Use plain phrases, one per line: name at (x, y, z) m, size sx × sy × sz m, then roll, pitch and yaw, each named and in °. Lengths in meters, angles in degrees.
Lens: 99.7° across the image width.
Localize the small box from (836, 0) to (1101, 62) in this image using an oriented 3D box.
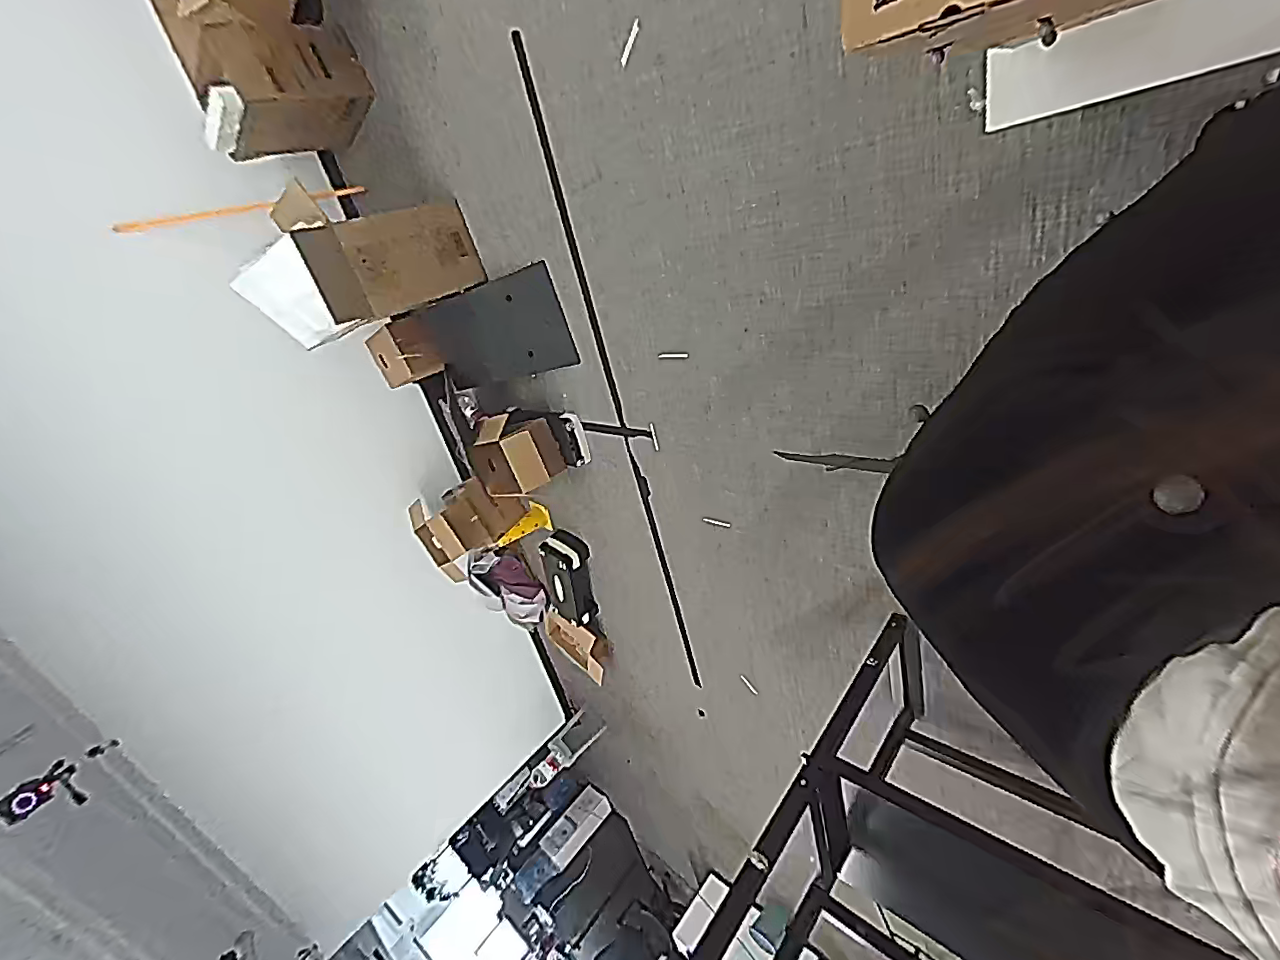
small box at (0.263, -0.444, 0.405) m, size 0.168 × 0.176 × 0.179 m, roll 15°, pitch 128°, yaw 41°

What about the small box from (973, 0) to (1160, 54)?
small box at (0.484, -0.603, 0.591) m, size 0.168 × 0.176 × 0.179 m, roll 11°, pitch 126°, yaw 43°
